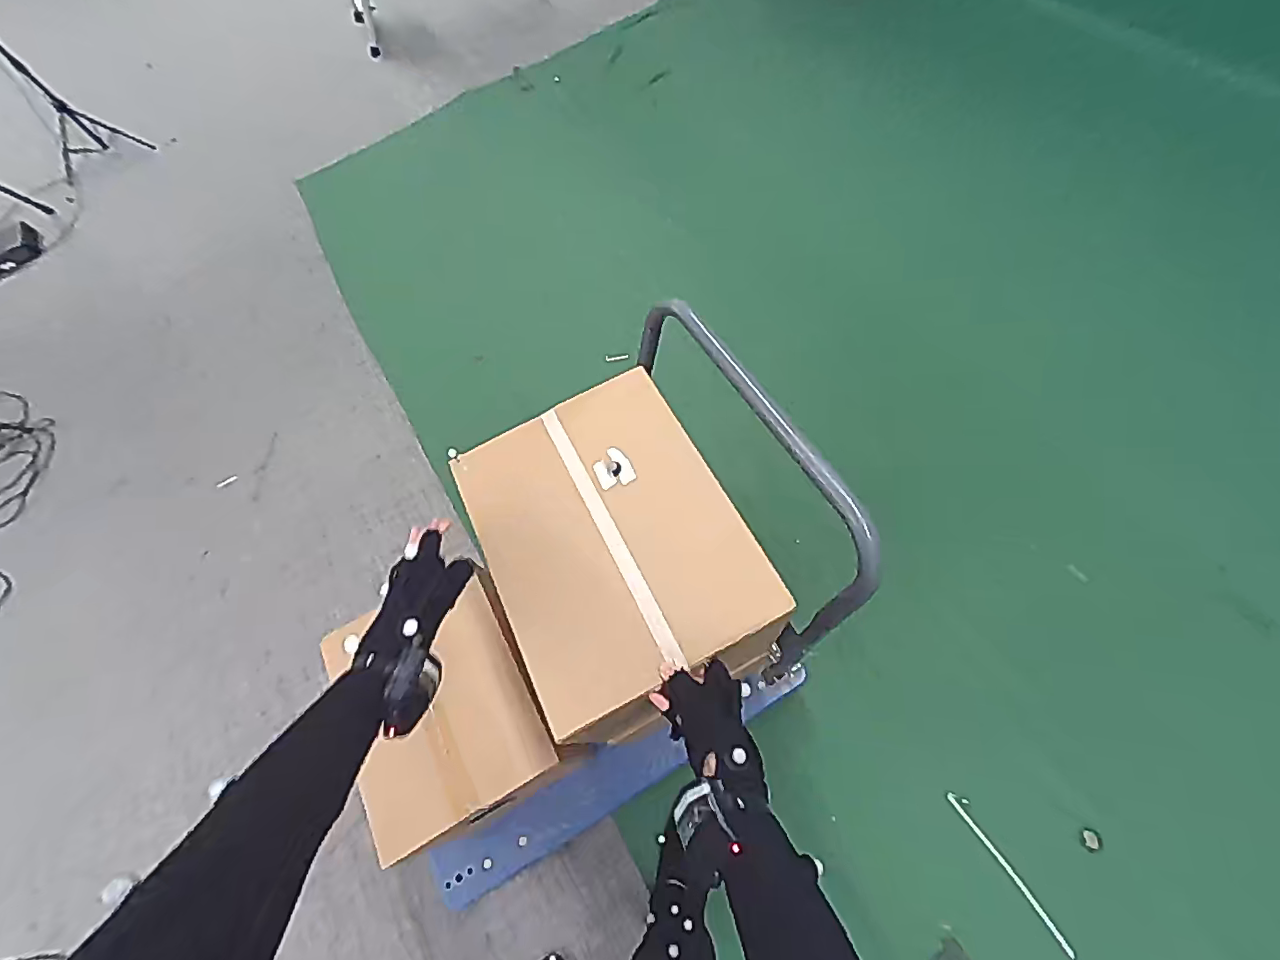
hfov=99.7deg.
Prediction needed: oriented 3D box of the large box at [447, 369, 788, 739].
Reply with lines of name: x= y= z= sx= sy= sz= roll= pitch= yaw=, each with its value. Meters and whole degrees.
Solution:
large box: x=-0.029 y=0.123 z=0.820 sx=0.320 sy=0.320 sz=0.408 roll=-27 pitch=63 yaw=-6
